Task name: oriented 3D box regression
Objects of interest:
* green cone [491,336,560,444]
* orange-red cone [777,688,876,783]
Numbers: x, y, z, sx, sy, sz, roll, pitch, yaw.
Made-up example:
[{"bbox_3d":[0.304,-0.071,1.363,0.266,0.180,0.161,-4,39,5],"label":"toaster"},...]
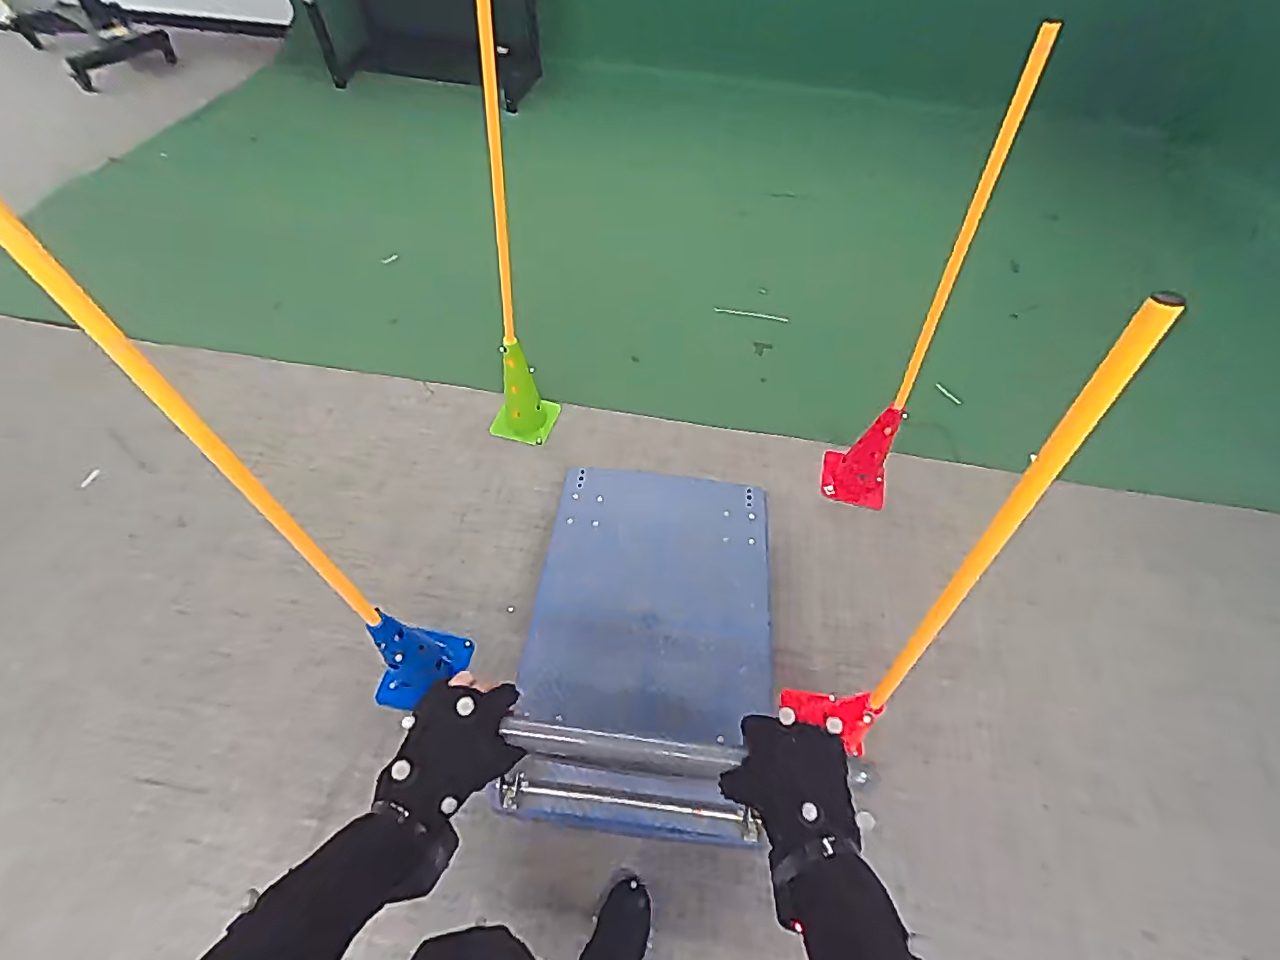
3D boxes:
[{"bbox_3d":[-0.398,-0.316,1.767,0.202,0.368,0.200,13,55,7],"label":"green cone"},{"bbox_3d":[0.444,0.535,1.211,0.199,0.360,0.198,8,54,5],"label":"orange-red cone"}]
